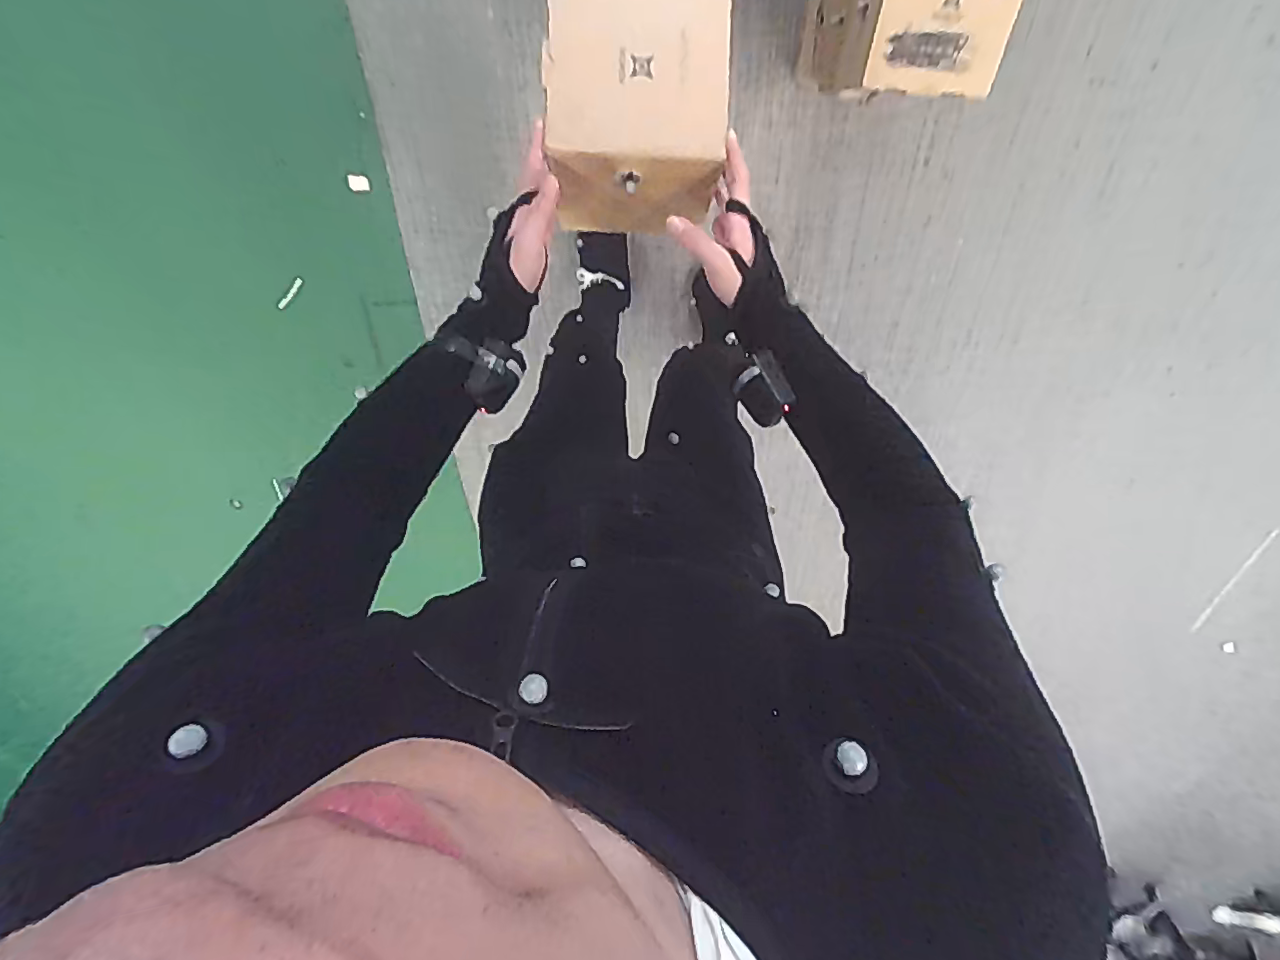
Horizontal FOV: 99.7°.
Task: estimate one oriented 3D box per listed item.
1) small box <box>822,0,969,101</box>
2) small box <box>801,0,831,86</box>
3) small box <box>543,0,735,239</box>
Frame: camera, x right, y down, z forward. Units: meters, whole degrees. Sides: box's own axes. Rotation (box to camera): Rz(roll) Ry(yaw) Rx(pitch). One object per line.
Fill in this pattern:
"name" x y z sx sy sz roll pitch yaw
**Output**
"small box" 0.393 -0.710 0.851 0.168 0.176 0.179 0 125 5
"small box" 0.400 -0.815 0.975 0.179 0.176 0.168 3 125 2
"small box" -0.002 -0.377 0.581 0.179 0.176 0.168 1 90 -2
